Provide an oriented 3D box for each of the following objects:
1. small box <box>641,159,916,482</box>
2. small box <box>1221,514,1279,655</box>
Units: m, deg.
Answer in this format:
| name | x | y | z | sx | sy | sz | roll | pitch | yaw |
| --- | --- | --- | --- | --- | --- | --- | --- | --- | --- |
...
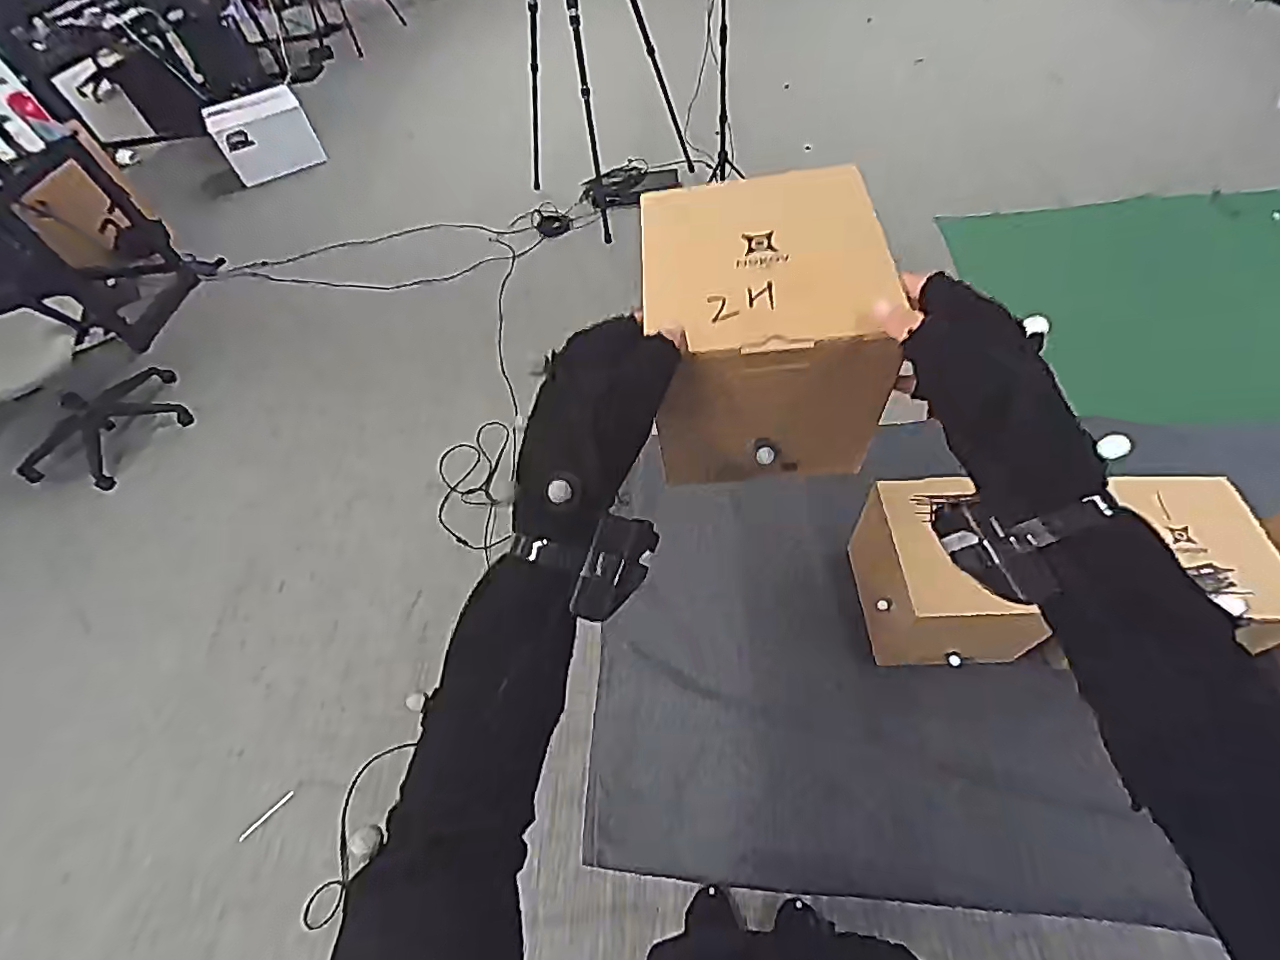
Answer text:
| name | x | y | z | sx | sy | sz | roll | pitch | yaw |
| --- | --- | --- | --- | --- | --- | --- | --- | --- | --- |
| small box | 0.092 | -0.118 | 0.435 | 0.168 | 0.176 | 0.179 | -5 | 60 | 7 |
| small box | 0.826 | 0.122 | 0.591 | 0.168 | 0.176 | 0.179 | -2 | 54 | 8 |
